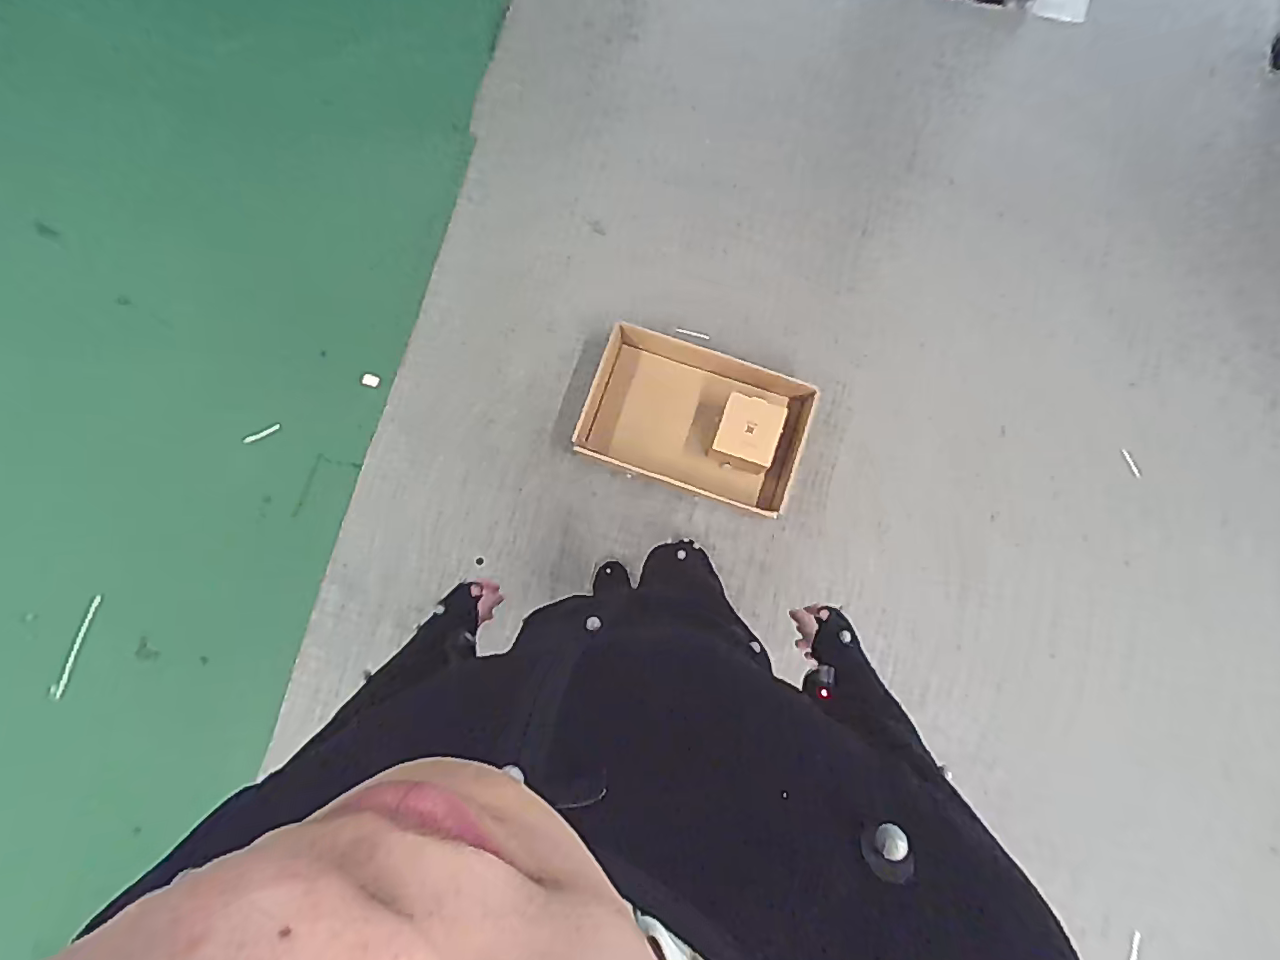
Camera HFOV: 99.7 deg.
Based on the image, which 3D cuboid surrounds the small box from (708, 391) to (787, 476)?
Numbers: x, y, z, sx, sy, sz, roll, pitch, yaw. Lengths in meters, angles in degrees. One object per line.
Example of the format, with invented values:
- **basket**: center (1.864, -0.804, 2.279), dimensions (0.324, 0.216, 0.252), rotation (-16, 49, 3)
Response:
- **small box**: center (0.299, -0.127, 1.546), dimensions (0.168, 0.176, 0.179), rotation (19, 83, 4)
